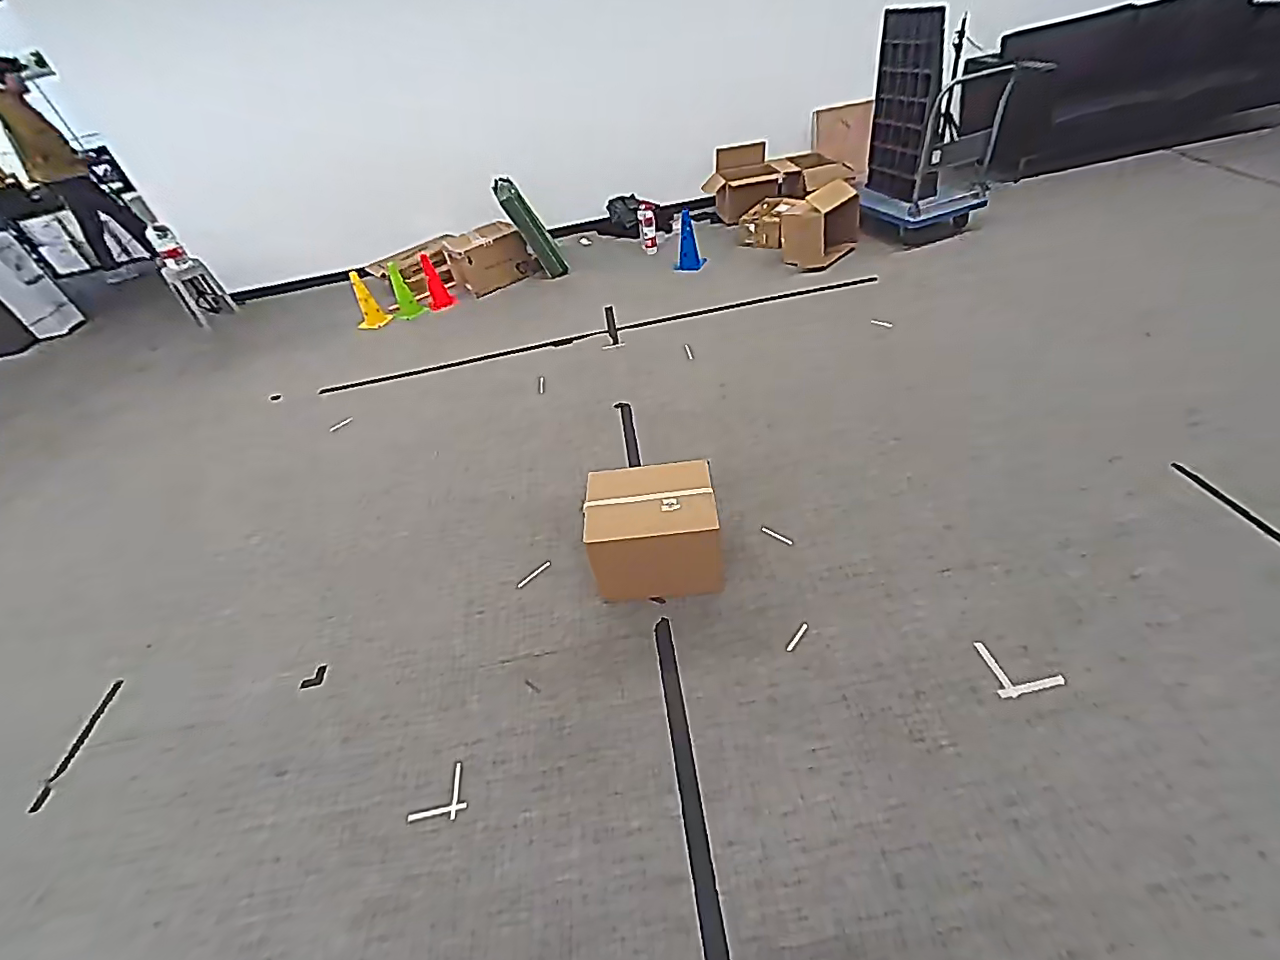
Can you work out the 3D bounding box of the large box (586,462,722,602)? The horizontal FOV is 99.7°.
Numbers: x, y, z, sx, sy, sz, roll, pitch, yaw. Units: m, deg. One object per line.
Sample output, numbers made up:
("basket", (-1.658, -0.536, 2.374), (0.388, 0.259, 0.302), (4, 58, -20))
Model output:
("large box", (0.048, 0.174, 1.780), (0.408, 0.320, 0.320), (-6, 43, 4))
